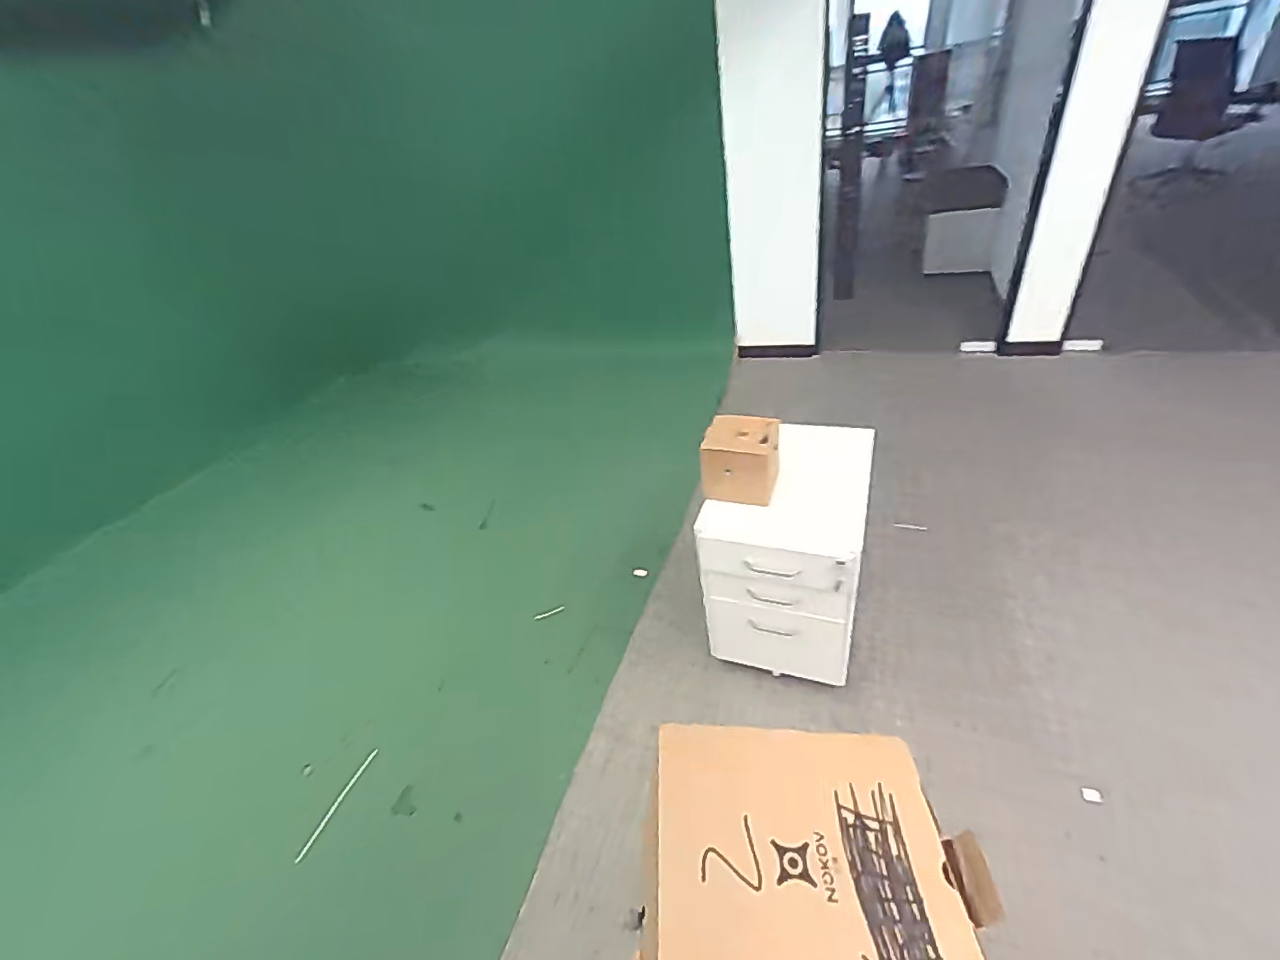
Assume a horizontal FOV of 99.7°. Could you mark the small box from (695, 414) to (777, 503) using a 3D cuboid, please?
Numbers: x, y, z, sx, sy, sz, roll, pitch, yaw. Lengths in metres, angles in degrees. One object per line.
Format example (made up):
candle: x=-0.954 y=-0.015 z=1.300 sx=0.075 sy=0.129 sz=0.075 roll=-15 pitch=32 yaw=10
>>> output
small box: x=0.258 y=-0.056 z=1.425 sx=0.179 sy=0.176 sz=0.168 roll=7 pitch=41 yaw=21
